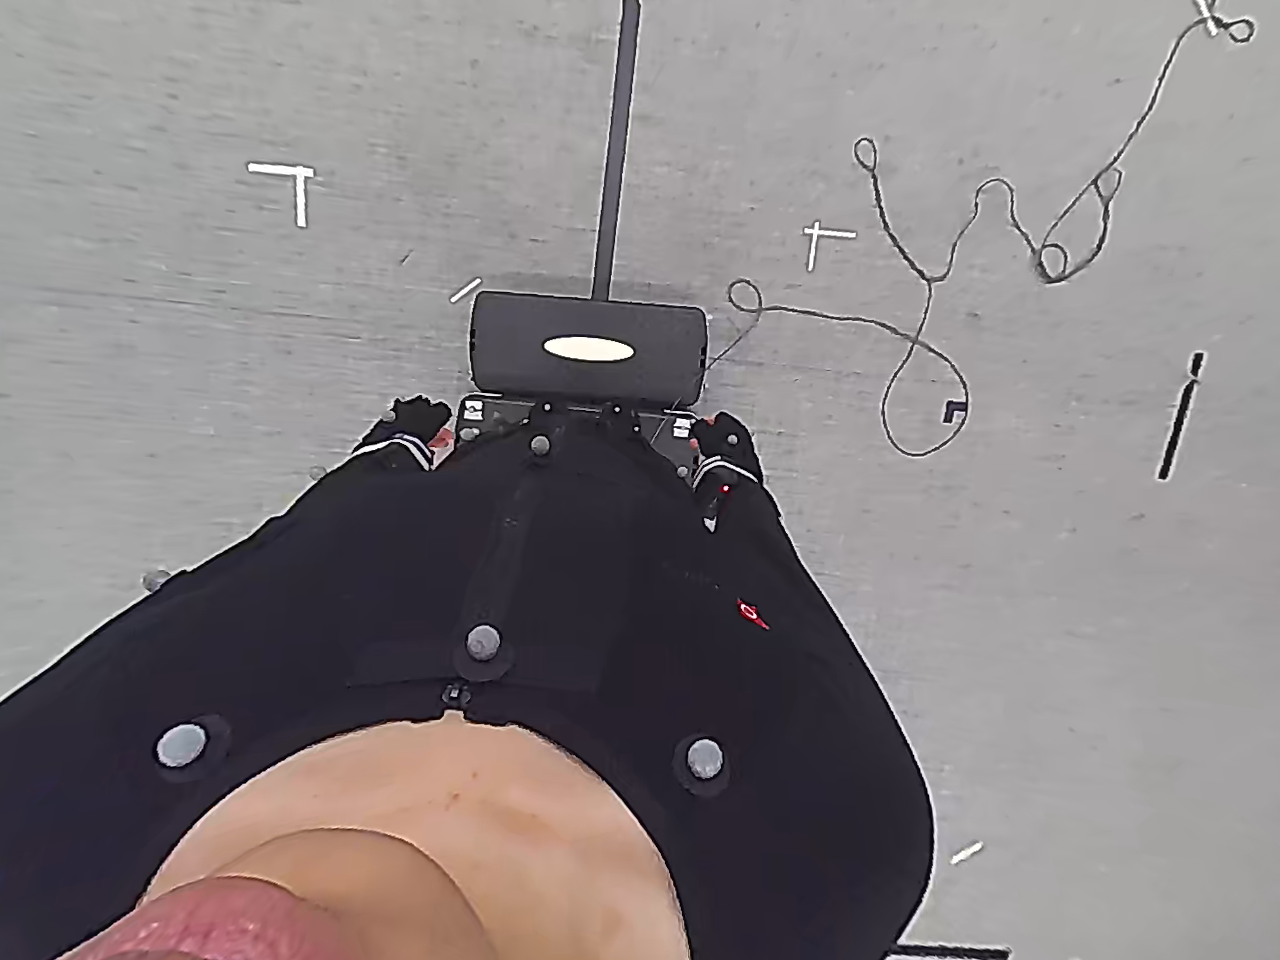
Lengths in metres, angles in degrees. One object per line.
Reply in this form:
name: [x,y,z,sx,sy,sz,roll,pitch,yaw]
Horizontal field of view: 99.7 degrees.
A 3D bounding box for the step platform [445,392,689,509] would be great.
step platform: [-0.200,-0.084,1.557,0.684,0.204,0.286,4,99,-2]
